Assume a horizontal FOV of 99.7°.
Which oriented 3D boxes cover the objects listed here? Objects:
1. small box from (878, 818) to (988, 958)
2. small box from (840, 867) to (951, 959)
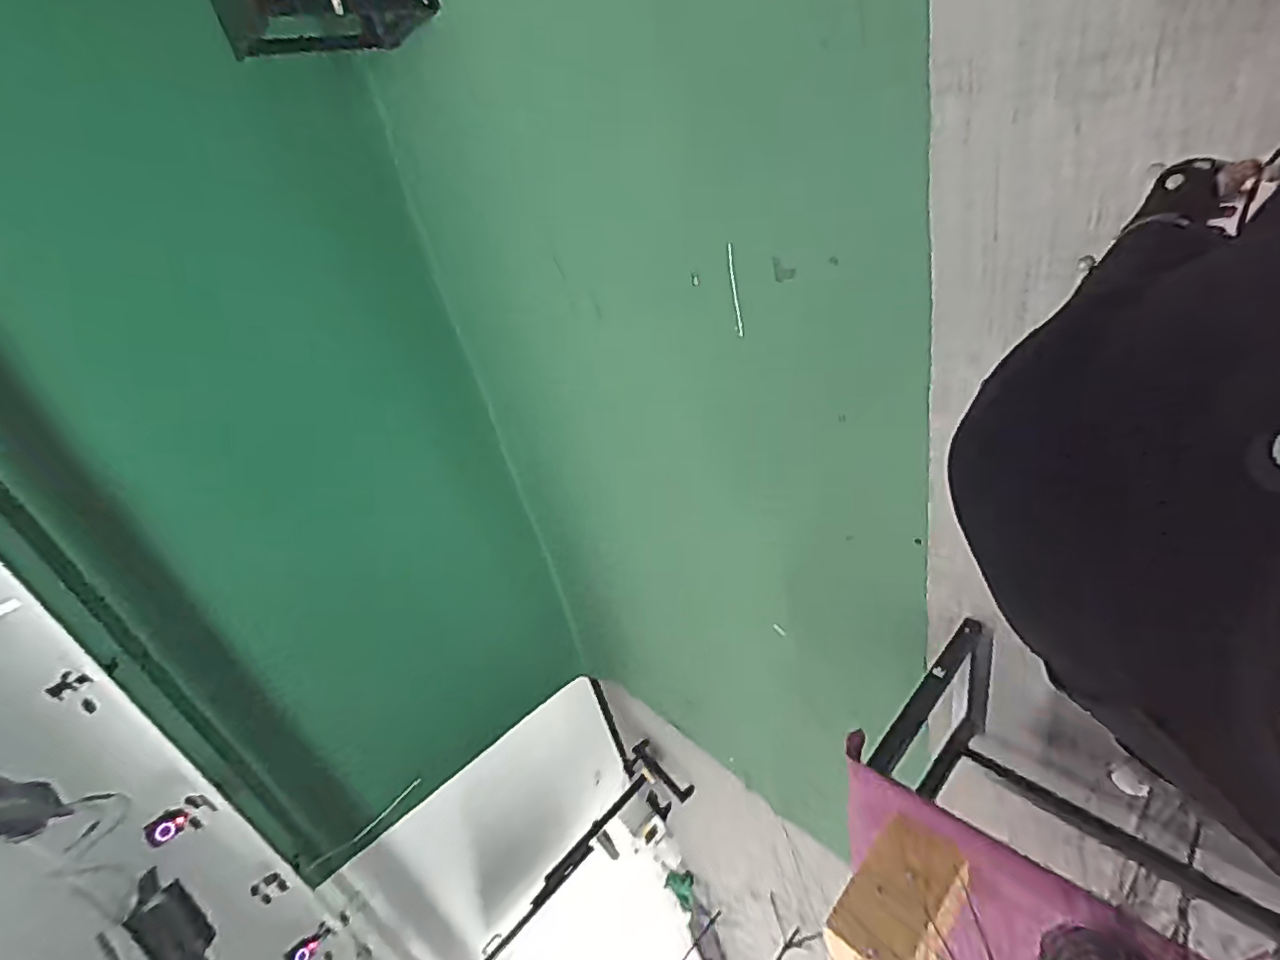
[{"bbox_3d":[0.690,0.945,1.276,0.179,0.176,0.168,16,129,48],"label":"small box"},{"bbox_3d":[0.568,1.021,1.196,0.168,0.176,0.179,16,130,47],"label":"small box"}]
